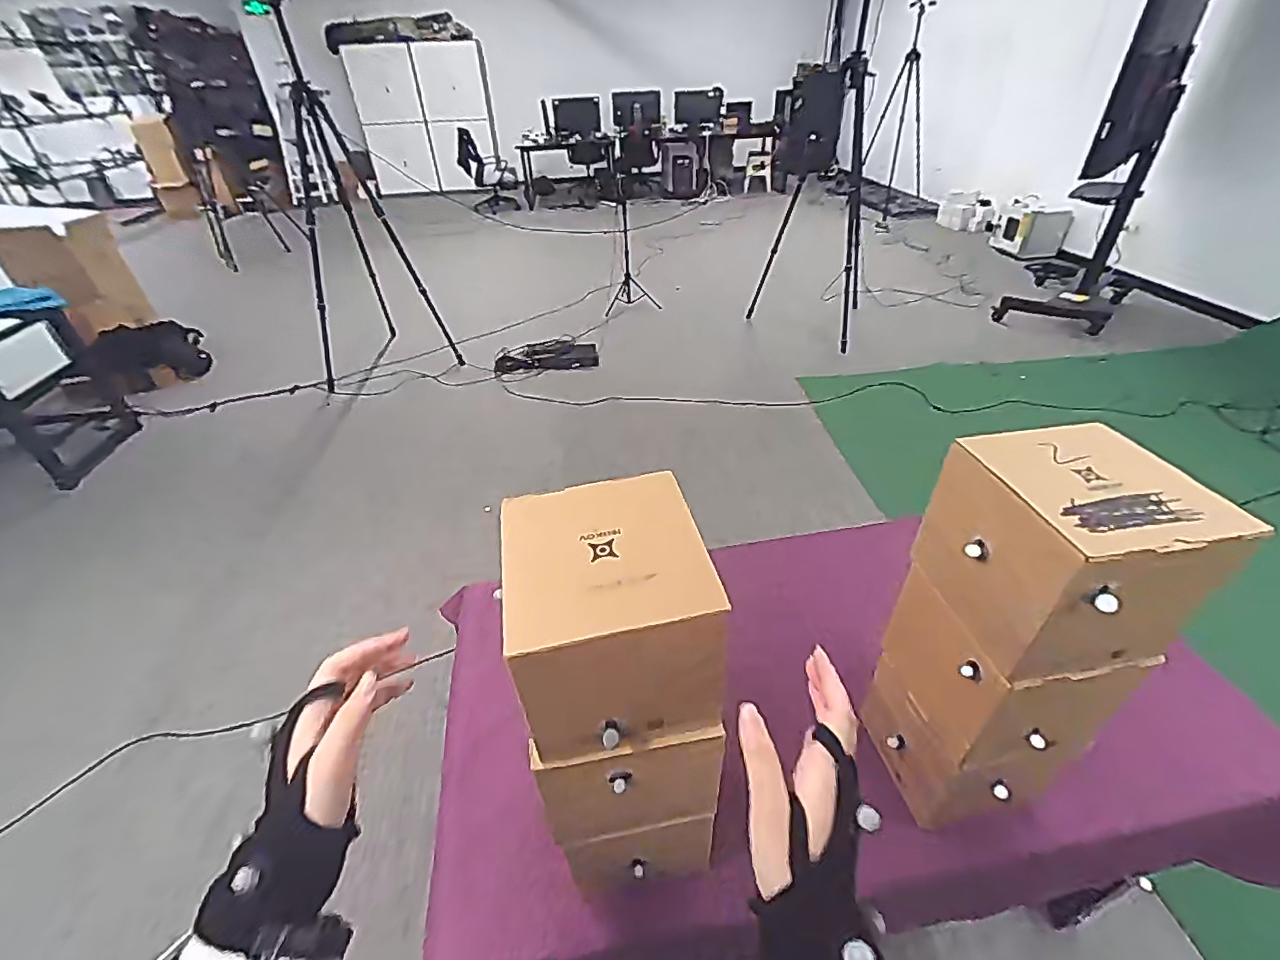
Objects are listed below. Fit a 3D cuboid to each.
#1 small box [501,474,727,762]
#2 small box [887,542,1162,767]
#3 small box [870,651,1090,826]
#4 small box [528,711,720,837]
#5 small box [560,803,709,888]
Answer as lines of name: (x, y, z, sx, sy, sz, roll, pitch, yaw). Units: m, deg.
small box: (-0.028, 0.120, 0.496, 0.168, 0.176, 0.179, -9, 39, -7)
small box: (0.419, 0.199, 0.632, 0.168, 0.176, 0.179, -7, 38, -5)
small box: (0.430, 0.333, 0.726, 0.179, 0.176, 0.168, -9, 38, -6)
small box: (-0.020, 0.256, 0.587, 0.179, 0.176, 0.168, -7, 38, -7)
small box: (-0.012, 0.386, 0.687, 0.168, 0.176, 0.179, -7, 37, -6)
